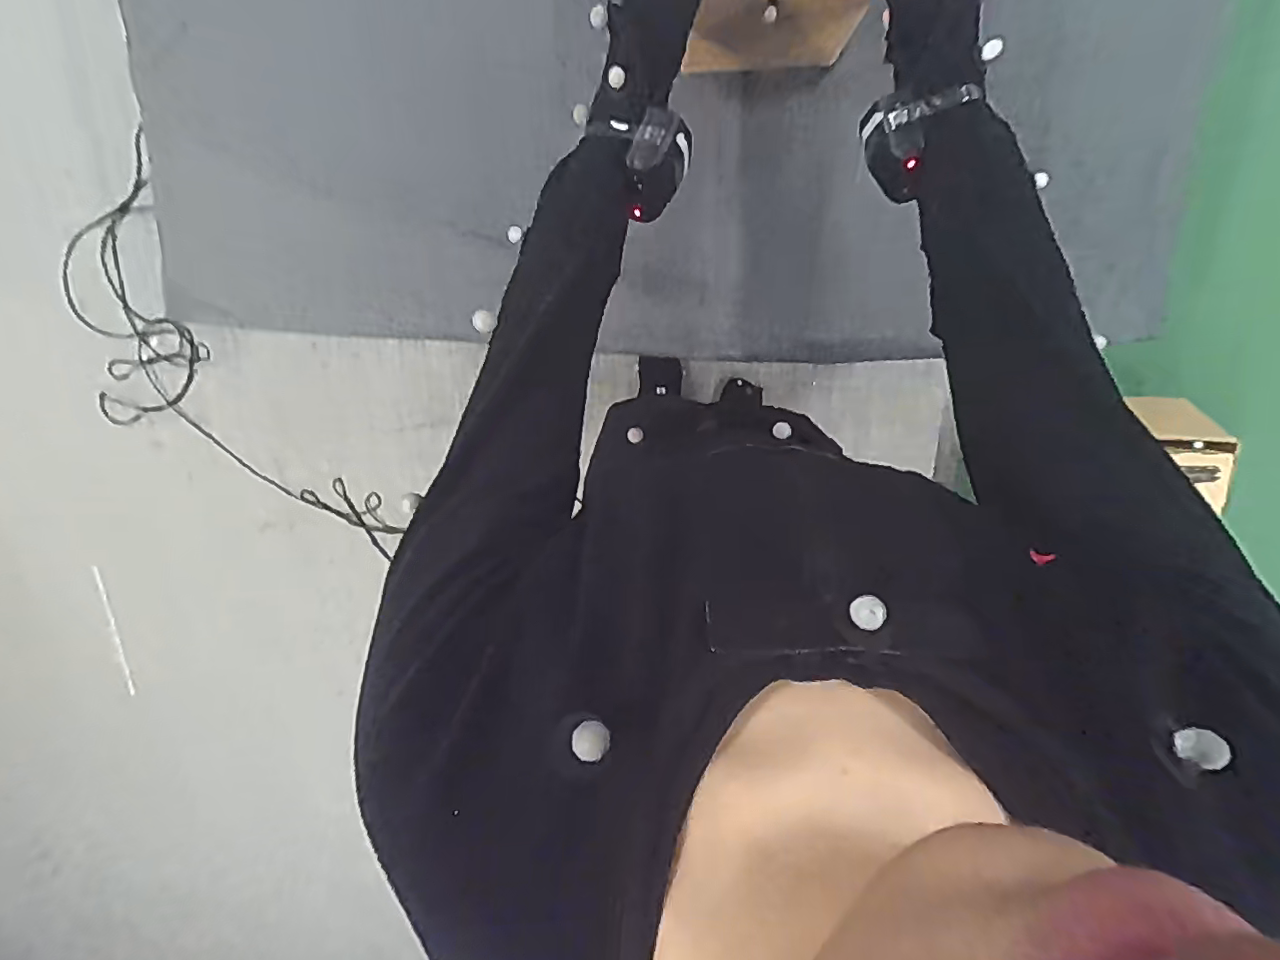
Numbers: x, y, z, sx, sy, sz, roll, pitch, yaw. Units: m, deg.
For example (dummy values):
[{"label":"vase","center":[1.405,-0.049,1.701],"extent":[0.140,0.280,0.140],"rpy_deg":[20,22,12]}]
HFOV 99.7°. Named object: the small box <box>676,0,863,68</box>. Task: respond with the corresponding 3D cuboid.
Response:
[{"label":"small box","center":[0.122,-0.524,0.510],"extent":[0.179,0.176,0.168],"rpy_deg":[-1,105,4]}]
